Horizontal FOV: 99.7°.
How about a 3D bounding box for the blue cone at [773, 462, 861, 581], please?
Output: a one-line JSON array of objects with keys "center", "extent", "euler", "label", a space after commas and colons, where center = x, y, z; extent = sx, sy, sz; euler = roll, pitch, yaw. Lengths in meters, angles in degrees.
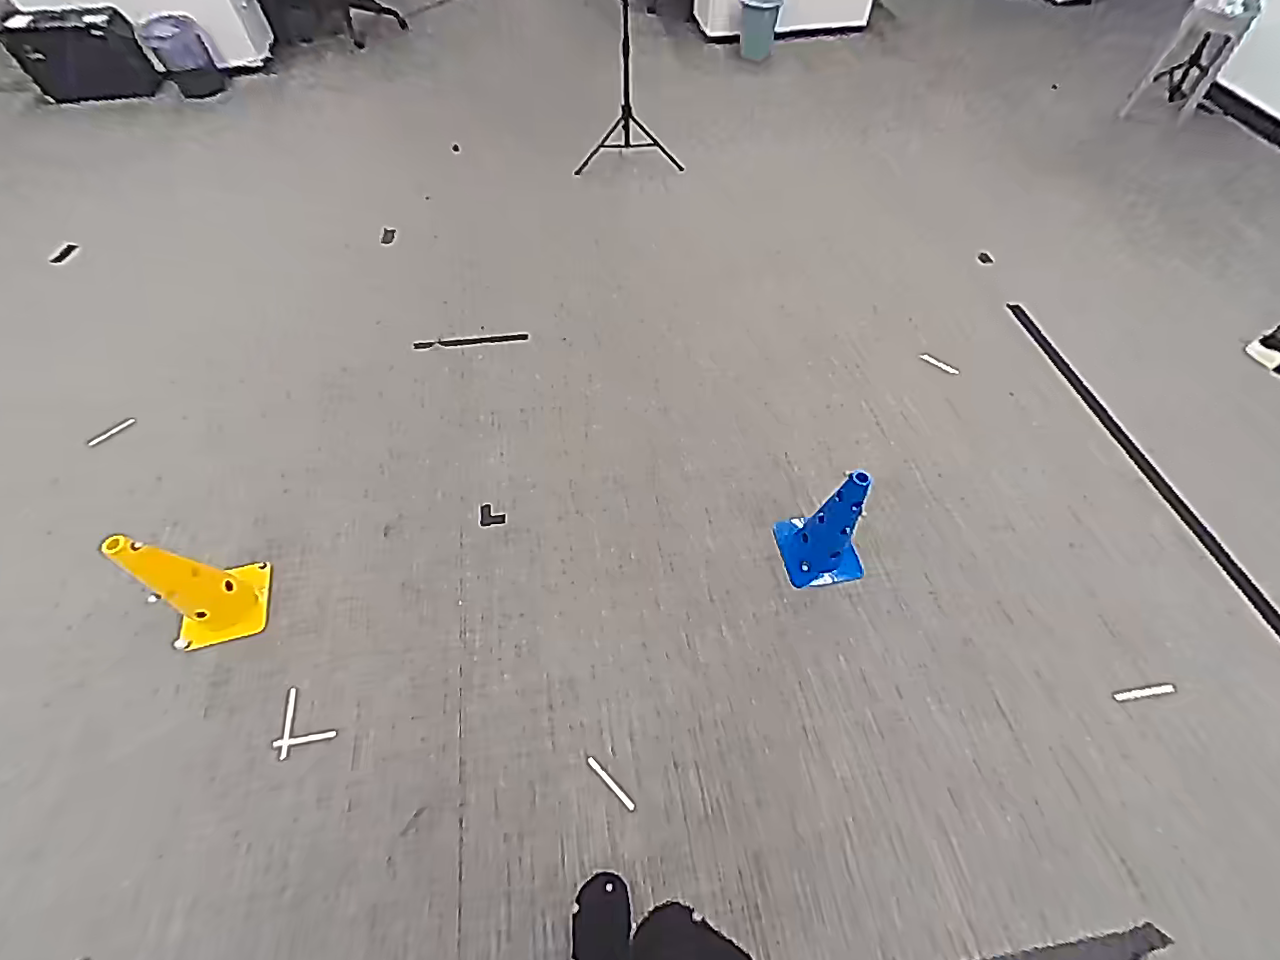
[{"center": [0.471, 0.088, 1.333], "extent": [0.193, 0.380, 0.192], "euler": [-7, 56, -5], "label": "blue cone"}]
